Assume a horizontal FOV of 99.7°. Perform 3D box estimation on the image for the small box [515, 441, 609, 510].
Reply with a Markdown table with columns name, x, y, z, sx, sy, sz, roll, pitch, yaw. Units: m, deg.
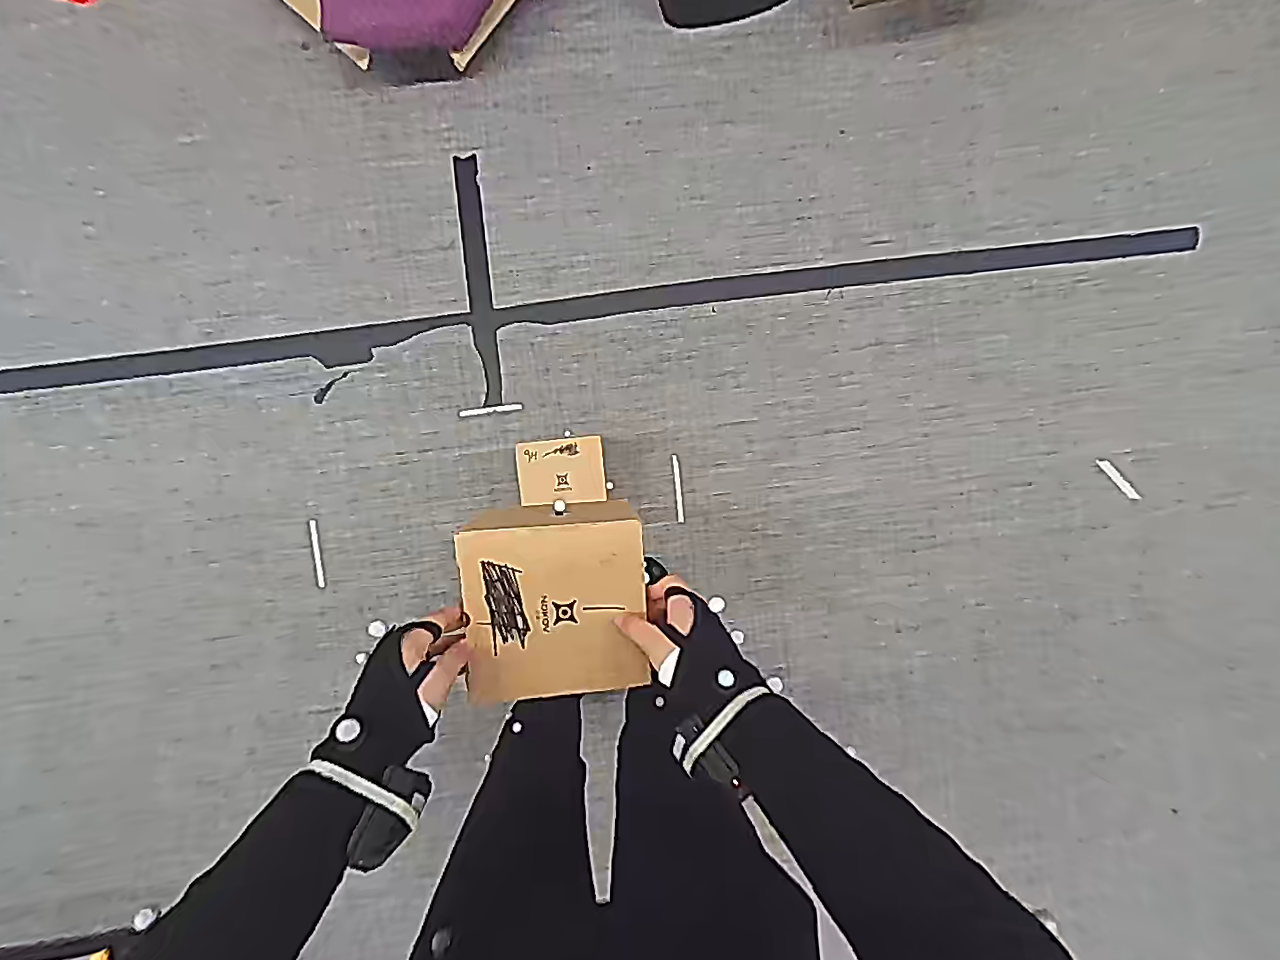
| name | x | y | z | sx | sy | sz | roll | pitch | yaw |
| --- | --- | --- | --- | --- | --- | --- | --- | --- | --- |
| small box | -0.152 | 0.014 | 1.107 | 0.168 | 0.176 | 0.179 | -5 | 95 | -2 |

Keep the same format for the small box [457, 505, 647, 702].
| name | x | y | z | sx | sy | sz | roll | pitch | yaw |
| --- | --- | --- | --- | --- | --- | --- | --- | --- | --- |
| small box | -0.091 | 0.121 | 0.596 | 0.179 | 0.176 | 0.168 | -3 | 95 | -7 |
